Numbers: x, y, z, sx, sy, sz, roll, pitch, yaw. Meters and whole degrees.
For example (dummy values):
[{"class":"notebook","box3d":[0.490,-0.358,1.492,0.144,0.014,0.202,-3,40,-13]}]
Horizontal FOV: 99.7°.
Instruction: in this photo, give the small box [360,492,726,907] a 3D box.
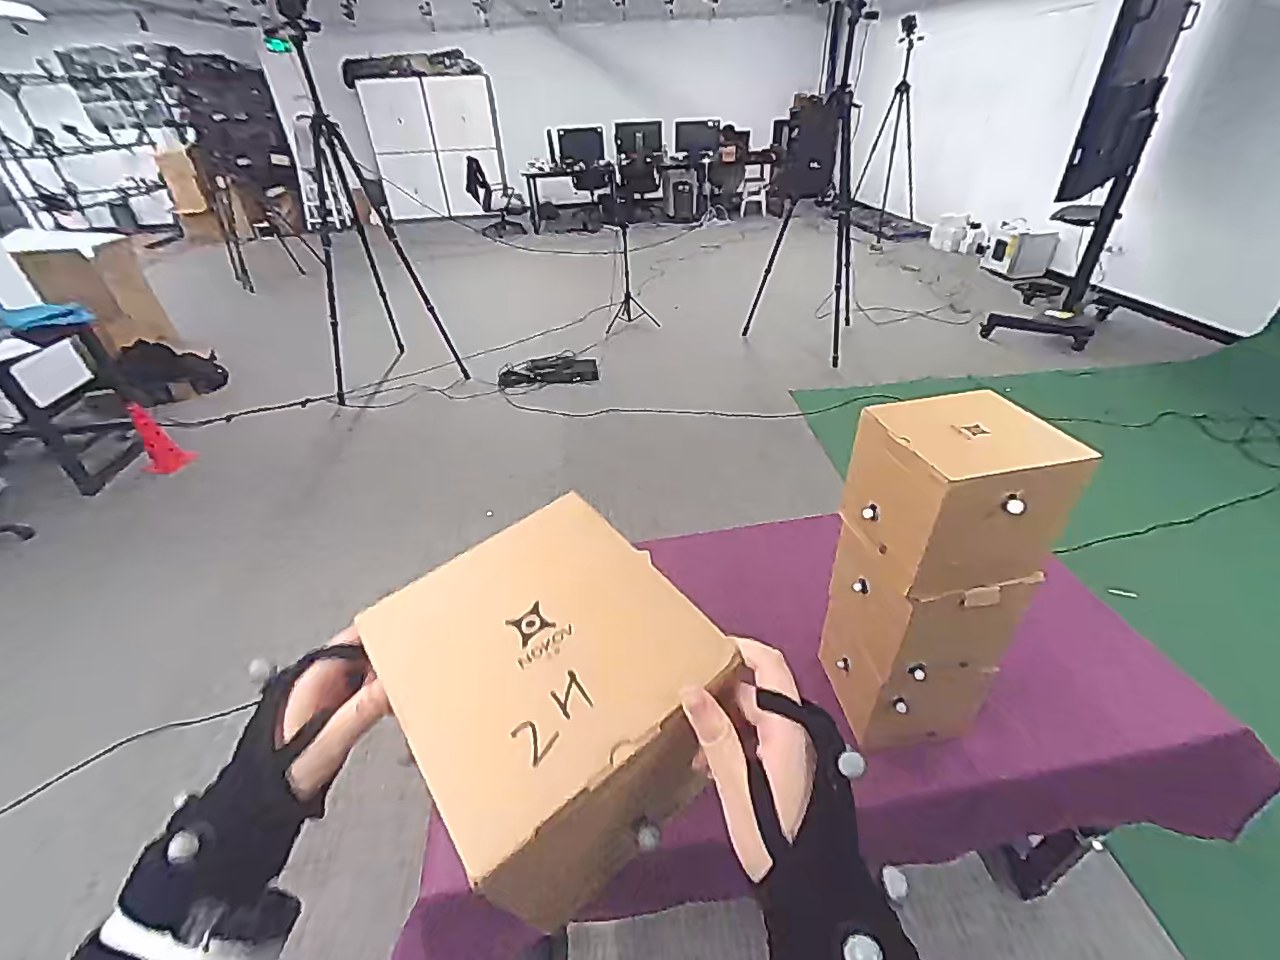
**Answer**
[{"class":"small box","box3d":[-0.061,0.146,0.377,0.168,0.176,0.179,-28,49,-22]}]

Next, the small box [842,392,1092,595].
[{"class":"small box","box3d":[0.369,0.014,0.651,0.179,0.176,0.168,-9,35,-7]}]

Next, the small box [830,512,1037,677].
[{"class":"small box","box3d":[0.382,0.148,0.742,0.168,0.176,0.179,-8,34,-6]}]
